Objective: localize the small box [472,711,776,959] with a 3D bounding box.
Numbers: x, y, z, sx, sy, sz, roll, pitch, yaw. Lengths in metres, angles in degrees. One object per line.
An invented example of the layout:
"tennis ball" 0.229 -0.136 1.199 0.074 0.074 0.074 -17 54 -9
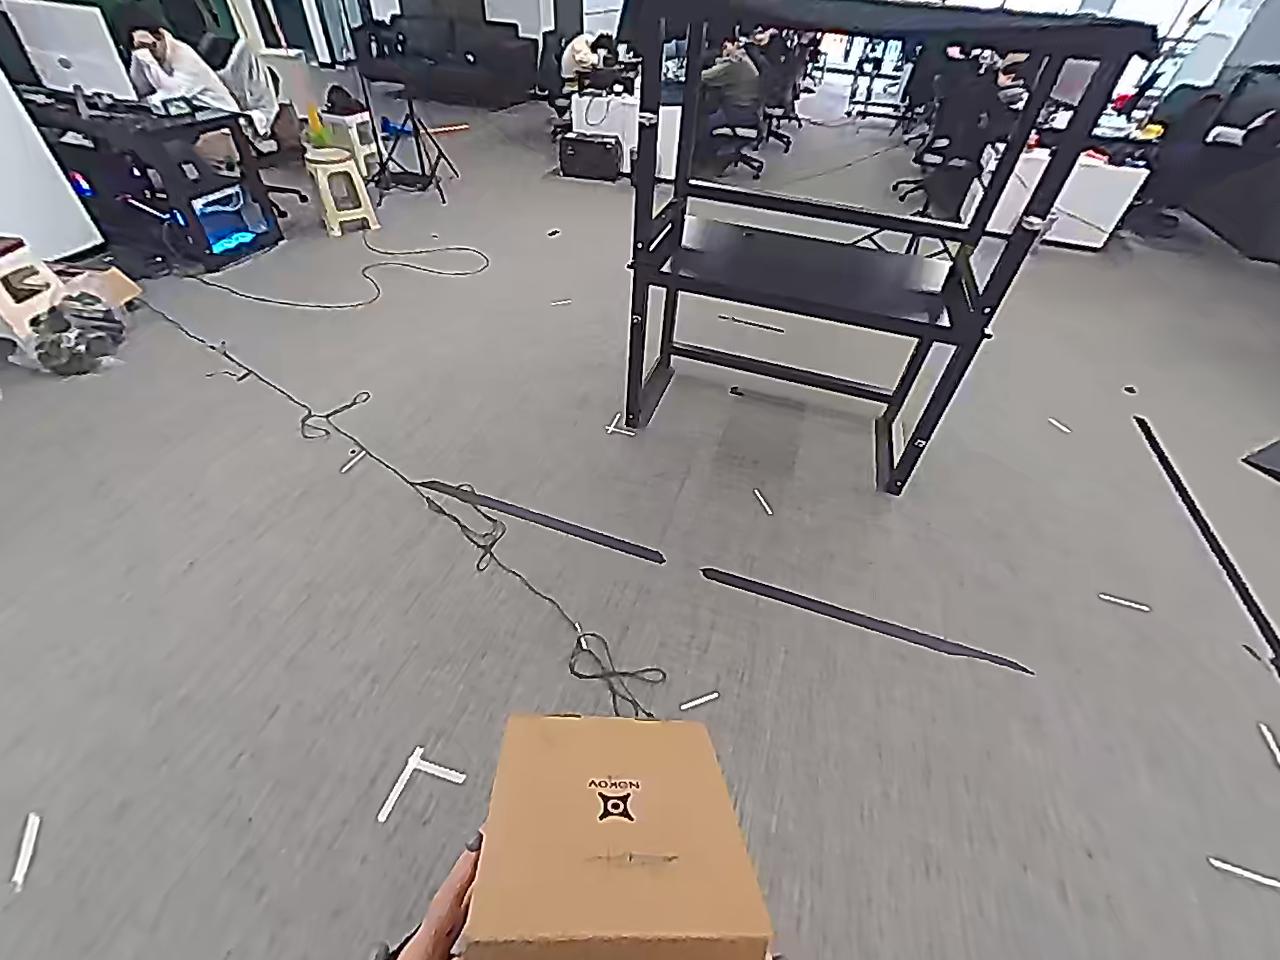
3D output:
"small box" -0.025 0.294 0.381 0.168 0.176 0.179 6 14 -8
